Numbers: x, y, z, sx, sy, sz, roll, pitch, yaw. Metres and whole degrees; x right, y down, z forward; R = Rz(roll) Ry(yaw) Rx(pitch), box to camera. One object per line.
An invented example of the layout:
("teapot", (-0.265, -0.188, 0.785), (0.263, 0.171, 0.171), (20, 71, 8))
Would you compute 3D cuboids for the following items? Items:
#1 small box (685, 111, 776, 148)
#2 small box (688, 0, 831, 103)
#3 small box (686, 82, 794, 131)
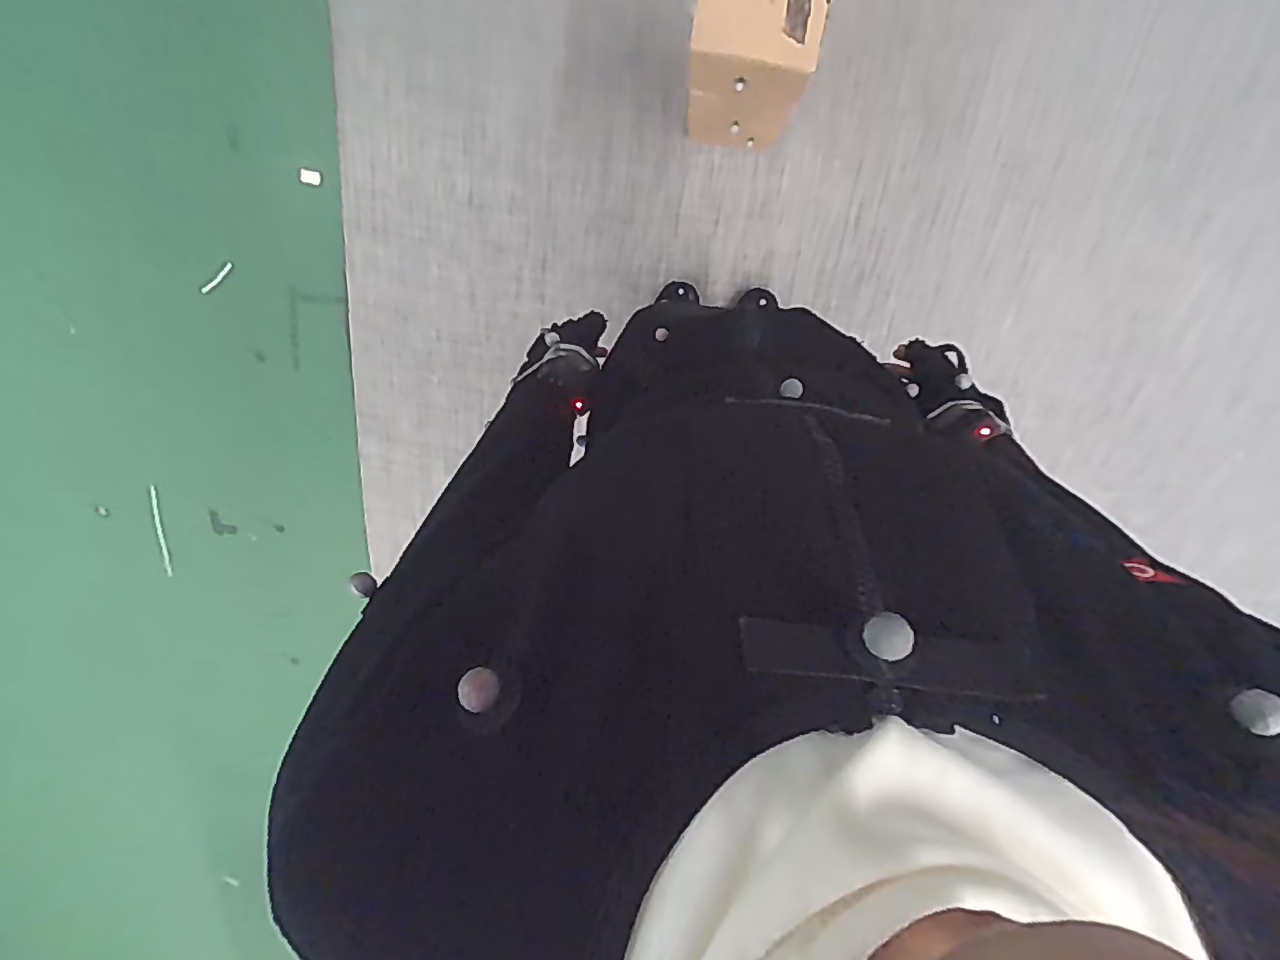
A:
("small box", (0.191, -0.787, 1.089), (0.179, 0.176, 0.168), (9, 110, 3))
("small box", (0.169, -0.671, 0.783), (0.179, 0.176, 0.168), (8, 111, 1))
("small box", (0.180, -0.727, 0.937), (0.179, 0.176, 0.168), (10, 111, 1))
